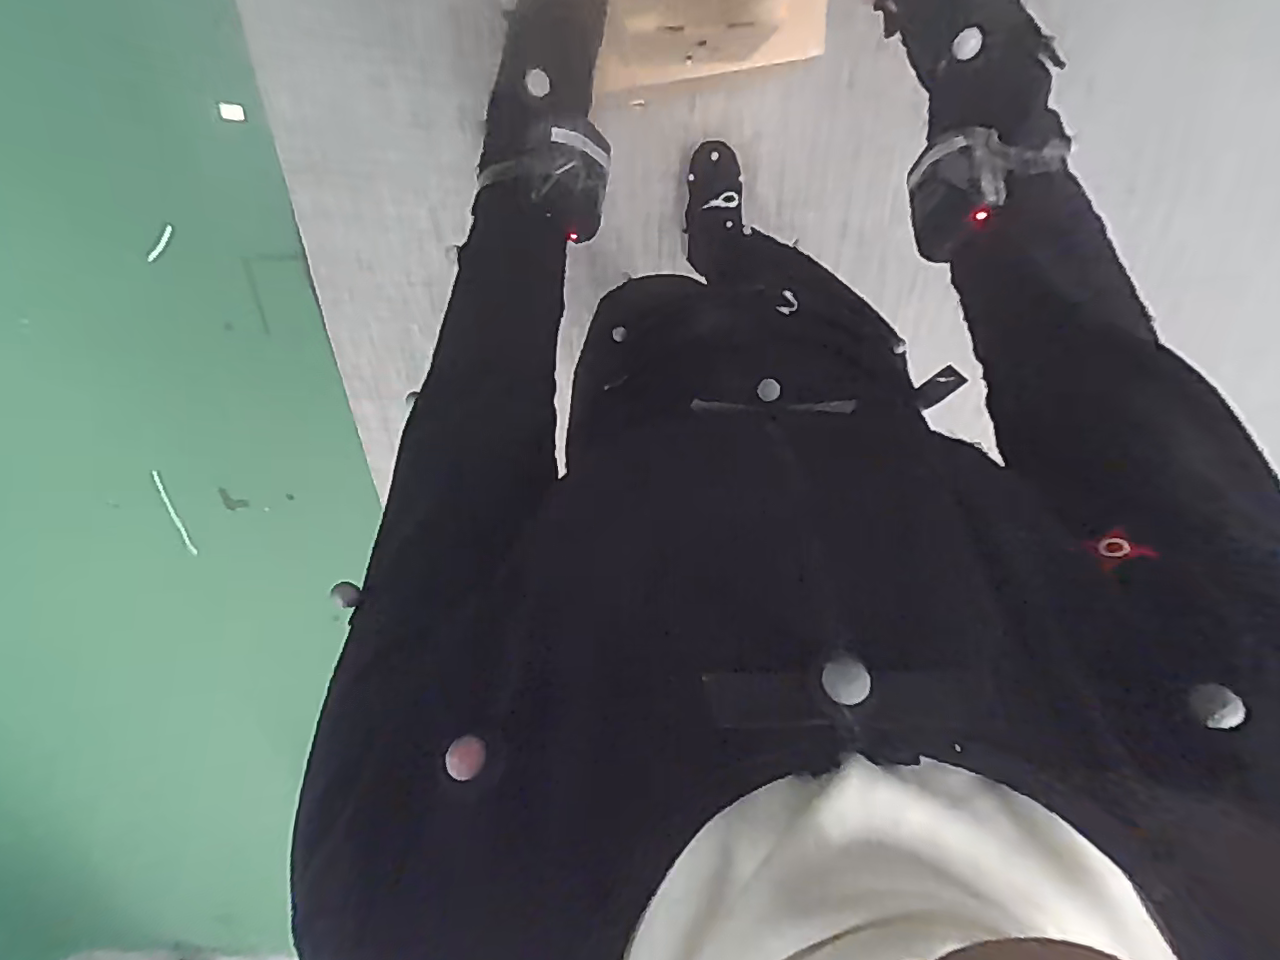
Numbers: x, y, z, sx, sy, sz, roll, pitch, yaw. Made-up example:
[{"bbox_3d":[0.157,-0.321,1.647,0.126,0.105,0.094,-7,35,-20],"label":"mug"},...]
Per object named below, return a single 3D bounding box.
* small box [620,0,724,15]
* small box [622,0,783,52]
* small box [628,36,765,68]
[{"bbox_3d":[0.053,-0.507,0.437,0.179,0.176,0.168,-6,122,5],"label":"small box"},{"bbox_3d":[0.066,-0.579,0.582,0.168,0.176,0.179,0,122,3],"label":"small box"},{"bbox_3d":[0.073,-0.664,0.721,0.179,0.176,0.168,0,121,4],"label":"small box"}]
